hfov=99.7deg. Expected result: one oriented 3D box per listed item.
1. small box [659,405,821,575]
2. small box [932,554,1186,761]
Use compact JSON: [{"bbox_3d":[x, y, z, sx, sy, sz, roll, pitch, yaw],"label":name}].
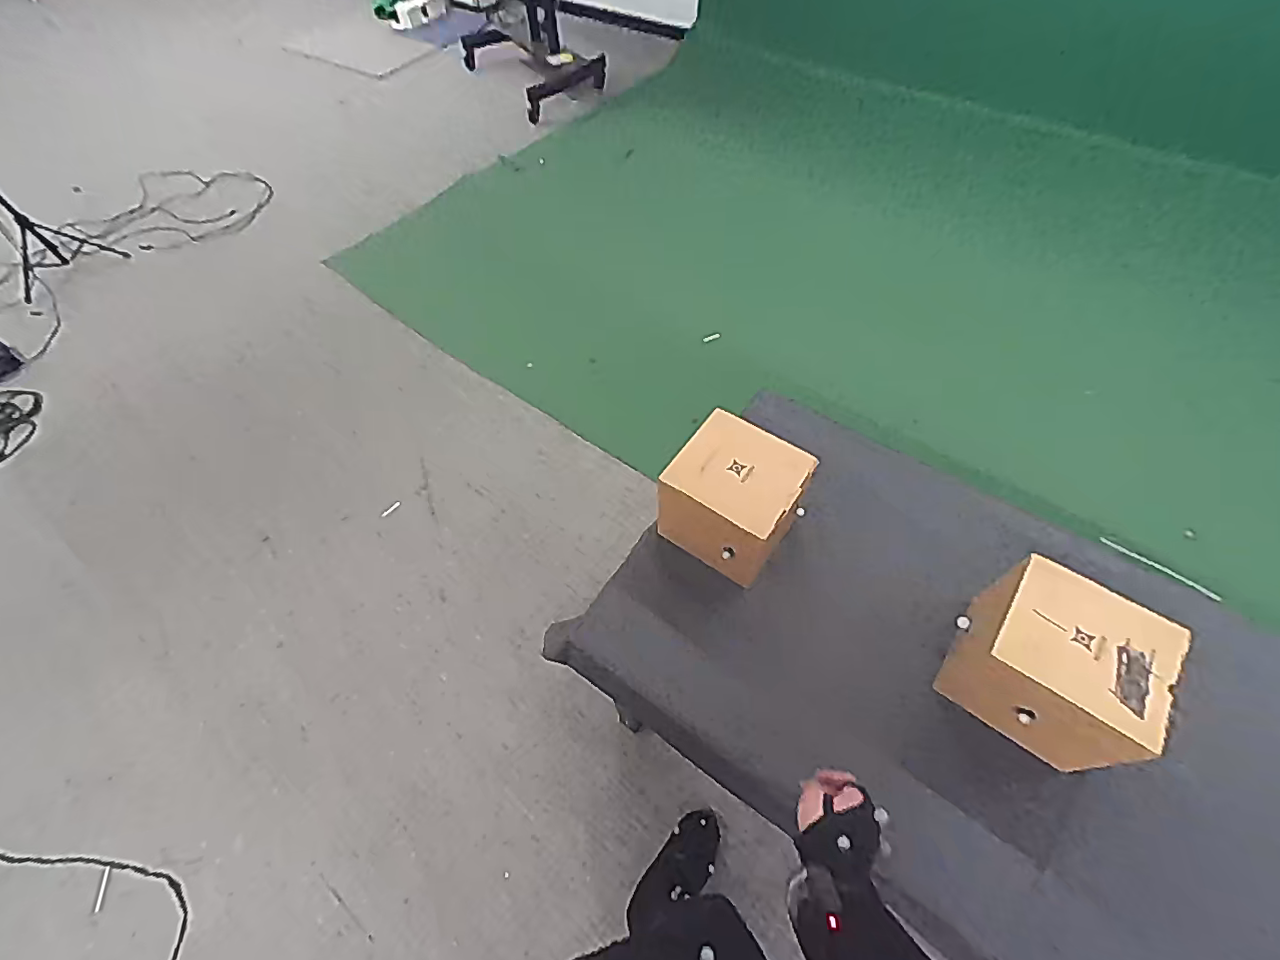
[{"bbox_3d":[0.145,0.024,0.834,0.179,0.176,0.168,30,61,20],"label":"small box"},{"bbox_3d":[0.520,0.232,0.692,0.179,0.176,0.168,33,63,21],"label":"small box"}]
